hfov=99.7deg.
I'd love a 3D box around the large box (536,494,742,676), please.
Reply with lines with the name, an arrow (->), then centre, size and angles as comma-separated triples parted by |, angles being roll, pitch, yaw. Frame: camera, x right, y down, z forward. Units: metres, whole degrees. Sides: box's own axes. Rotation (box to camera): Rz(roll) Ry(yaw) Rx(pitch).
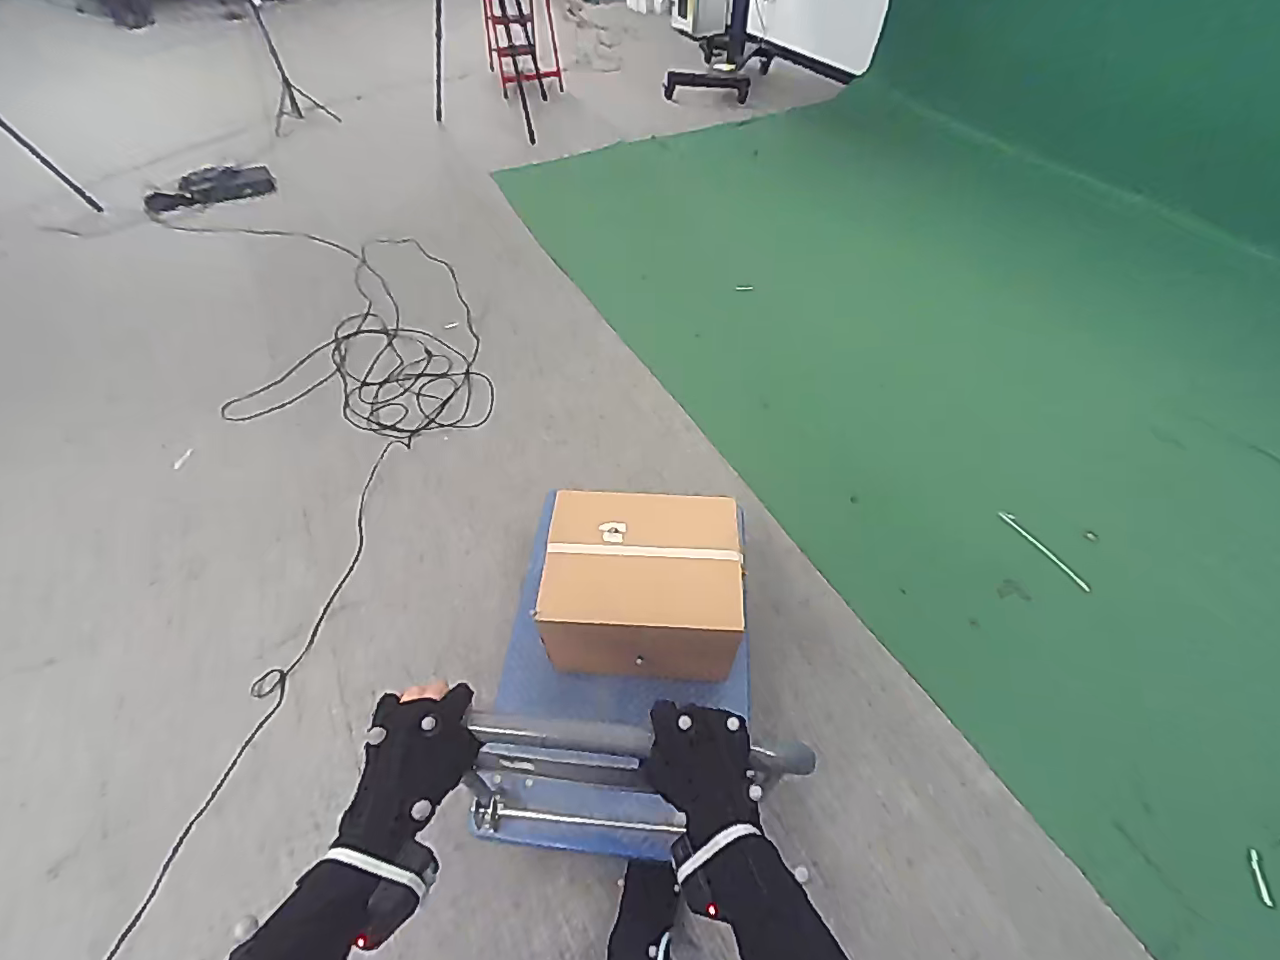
large box -> 0.004, 0.247, 1.243 | 0.408, 0.320, 0.320 | 2, 52, 2
